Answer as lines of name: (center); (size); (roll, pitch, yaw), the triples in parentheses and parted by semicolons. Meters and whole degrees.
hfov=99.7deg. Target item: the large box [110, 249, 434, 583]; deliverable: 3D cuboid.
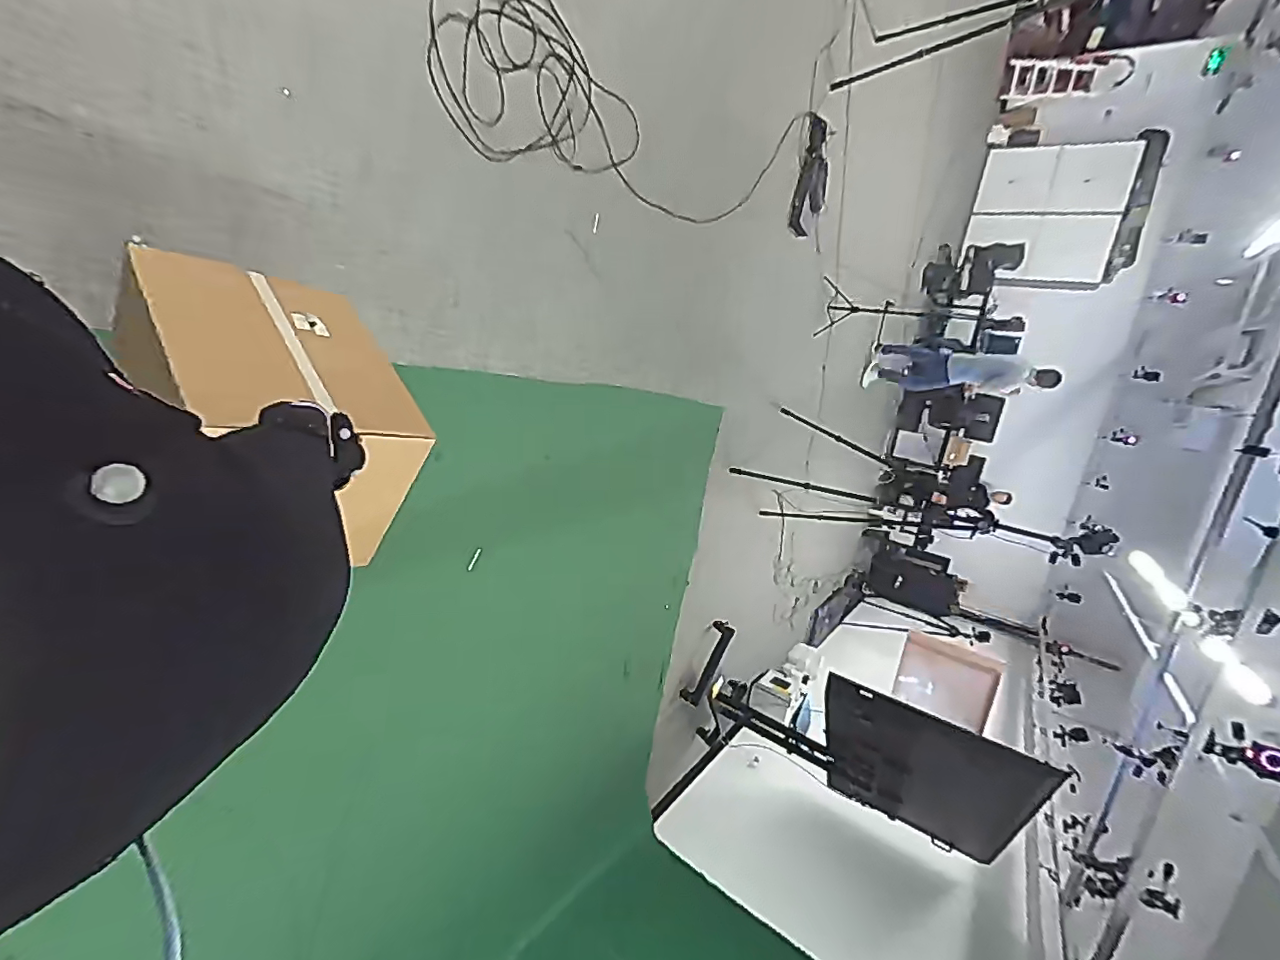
large box: (-0.618, -0.099, 0.896); (0.320, 0.408, 0.320); (-1, 135, -54)
